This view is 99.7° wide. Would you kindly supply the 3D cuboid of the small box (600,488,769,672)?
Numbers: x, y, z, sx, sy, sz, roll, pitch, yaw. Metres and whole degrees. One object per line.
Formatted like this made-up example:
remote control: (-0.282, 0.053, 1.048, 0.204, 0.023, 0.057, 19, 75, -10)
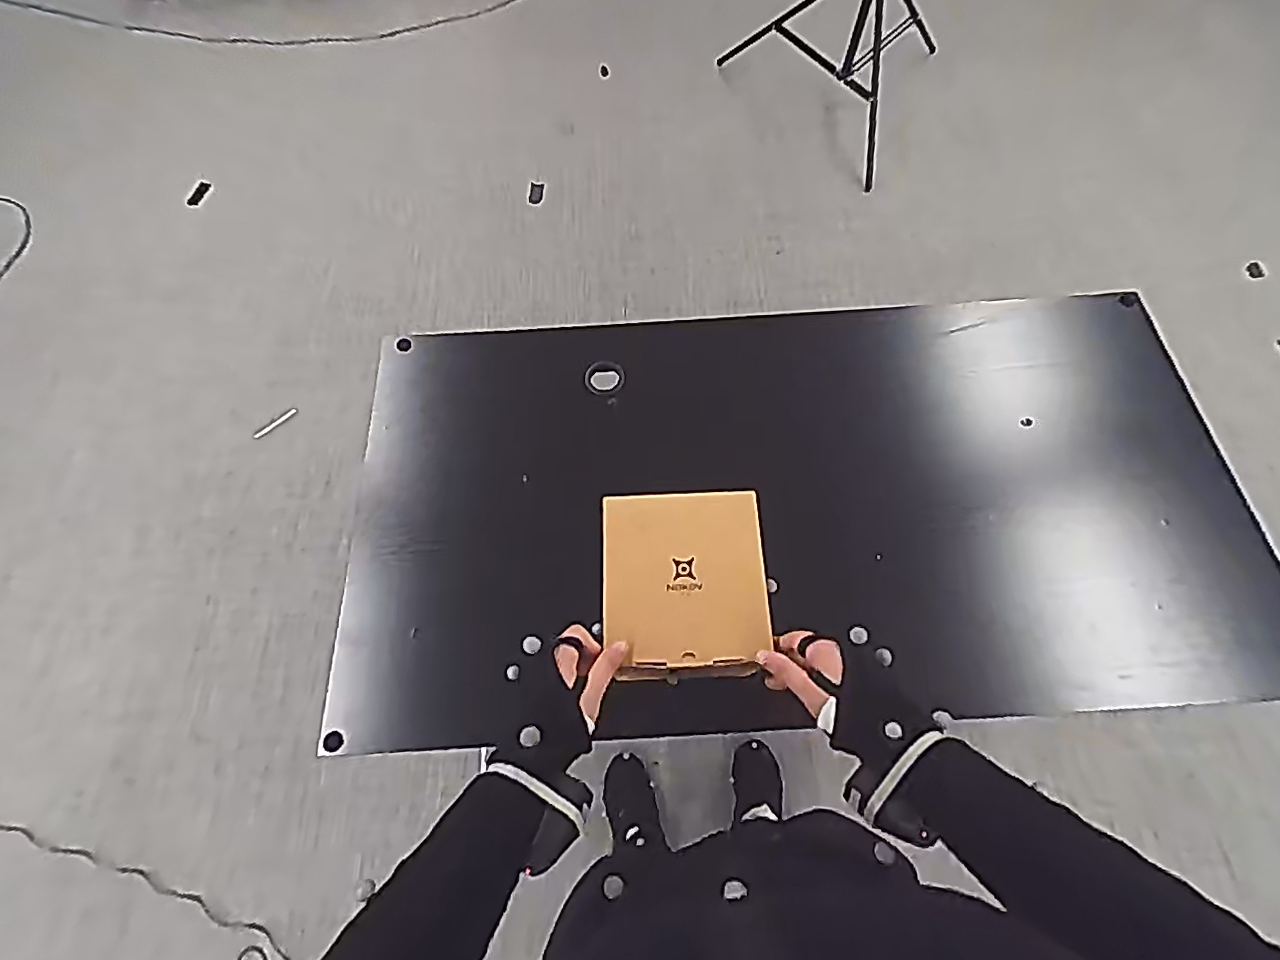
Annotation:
small box: (0.042, 0.122, 0.624, 0.168, 0.176, 0.179, -3, 67, 1)
